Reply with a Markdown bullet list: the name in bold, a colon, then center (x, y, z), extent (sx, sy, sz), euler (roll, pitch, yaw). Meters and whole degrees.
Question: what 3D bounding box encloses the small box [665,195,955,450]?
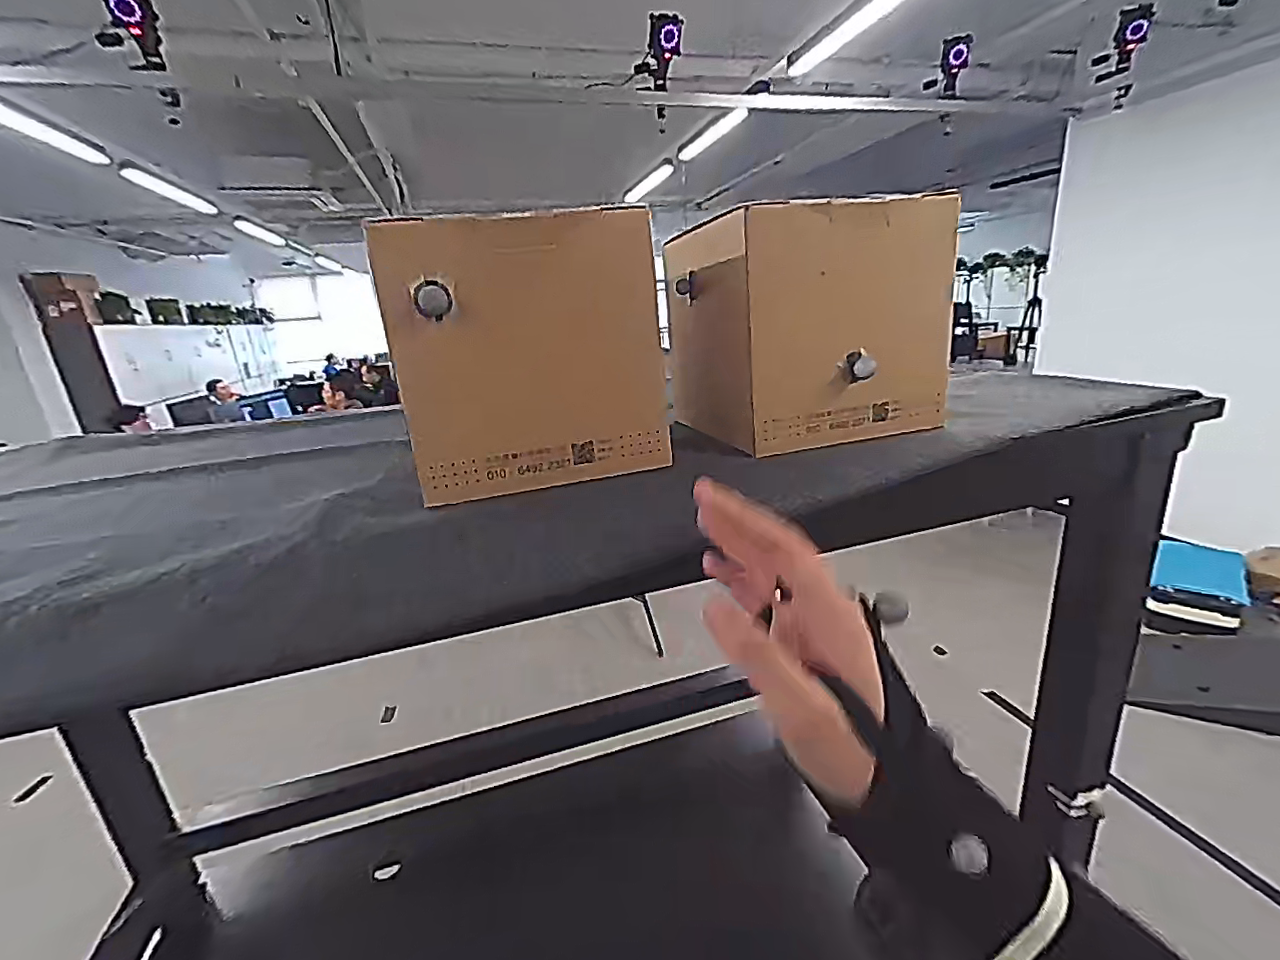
- **small box**: center (0.128, -0.128, 0.459), extent (0.168, 0.176, 0.179), euler (-10, 17, -13)
